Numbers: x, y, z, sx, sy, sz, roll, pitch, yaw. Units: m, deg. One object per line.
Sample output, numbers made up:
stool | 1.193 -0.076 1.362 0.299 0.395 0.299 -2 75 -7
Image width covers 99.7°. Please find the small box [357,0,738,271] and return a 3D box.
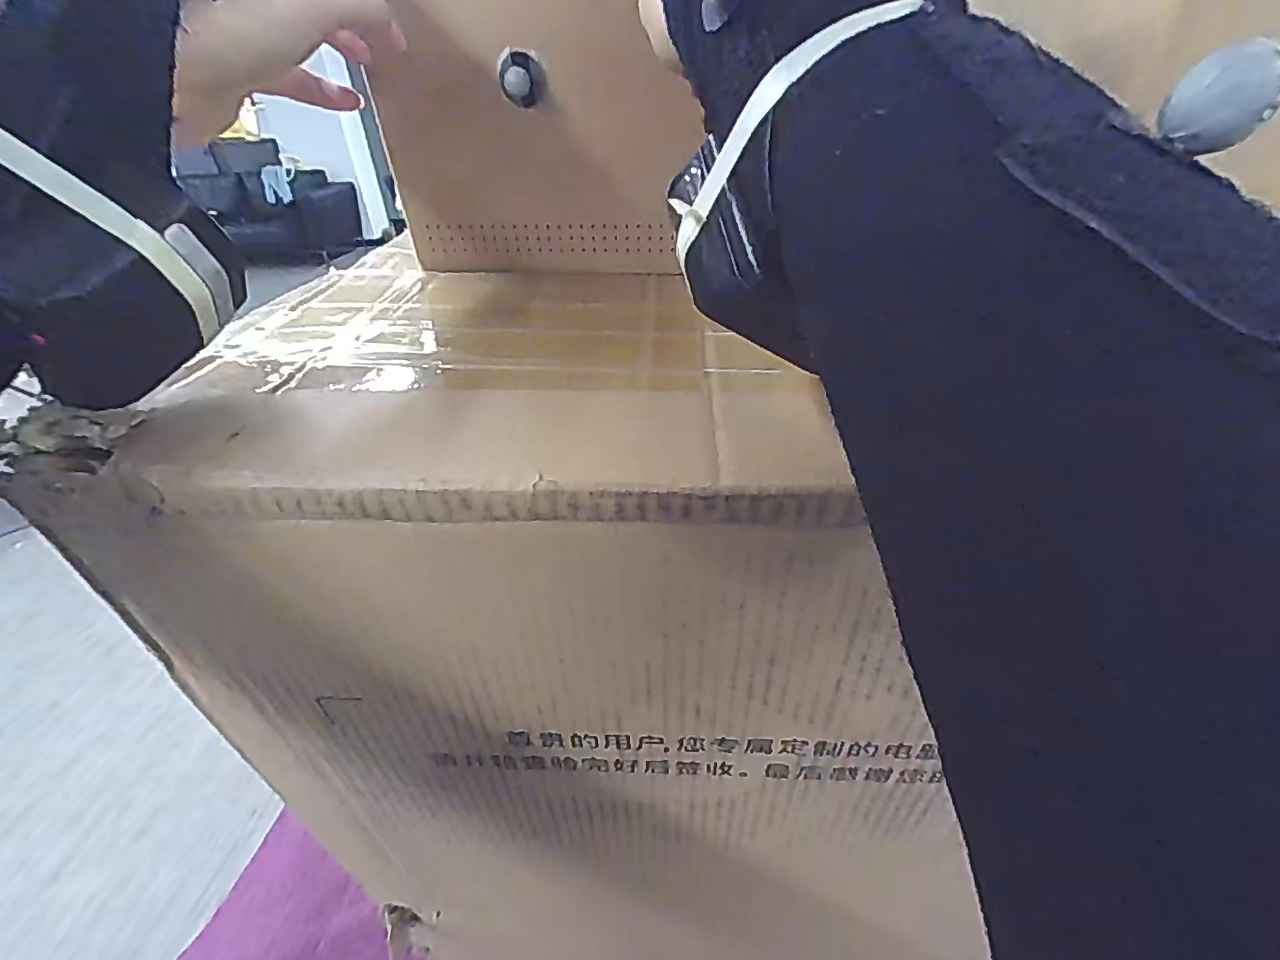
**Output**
small box | -0.035 -0.235 0.325 0.179 0.176 0.168 2 40 5
